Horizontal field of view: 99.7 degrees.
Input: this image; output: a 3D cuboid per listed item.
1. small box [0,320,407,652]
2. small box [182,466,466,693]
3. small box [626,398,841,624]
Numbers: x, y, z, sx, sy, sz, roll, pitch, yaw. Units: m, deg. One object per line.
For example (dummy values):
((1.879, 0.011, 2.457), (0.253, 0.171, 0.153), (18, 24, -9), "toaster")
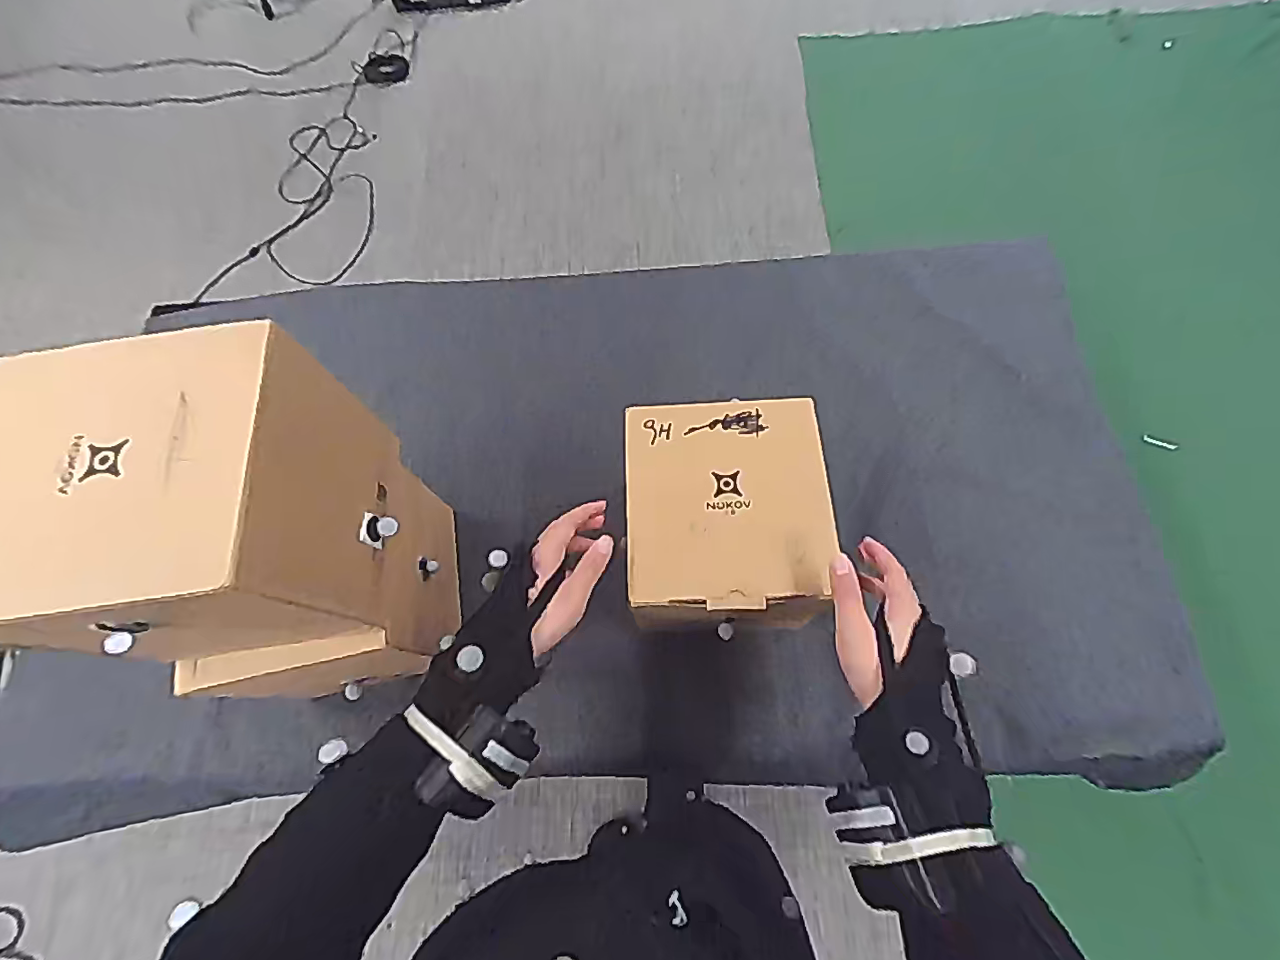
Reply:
((-0.286, 0.019, 0.372), (0.179, 0.176, 0.168), (-8, 68, -1), "small box")
((-0.279, 0.096, 0.517), (0.168, 0.176, 0.179), (-13, 68, -1), "small box")
((0.077, 0.042, 0.518), (0.168, 0.176, 0.179), (-3, 68, 3), "small box")
